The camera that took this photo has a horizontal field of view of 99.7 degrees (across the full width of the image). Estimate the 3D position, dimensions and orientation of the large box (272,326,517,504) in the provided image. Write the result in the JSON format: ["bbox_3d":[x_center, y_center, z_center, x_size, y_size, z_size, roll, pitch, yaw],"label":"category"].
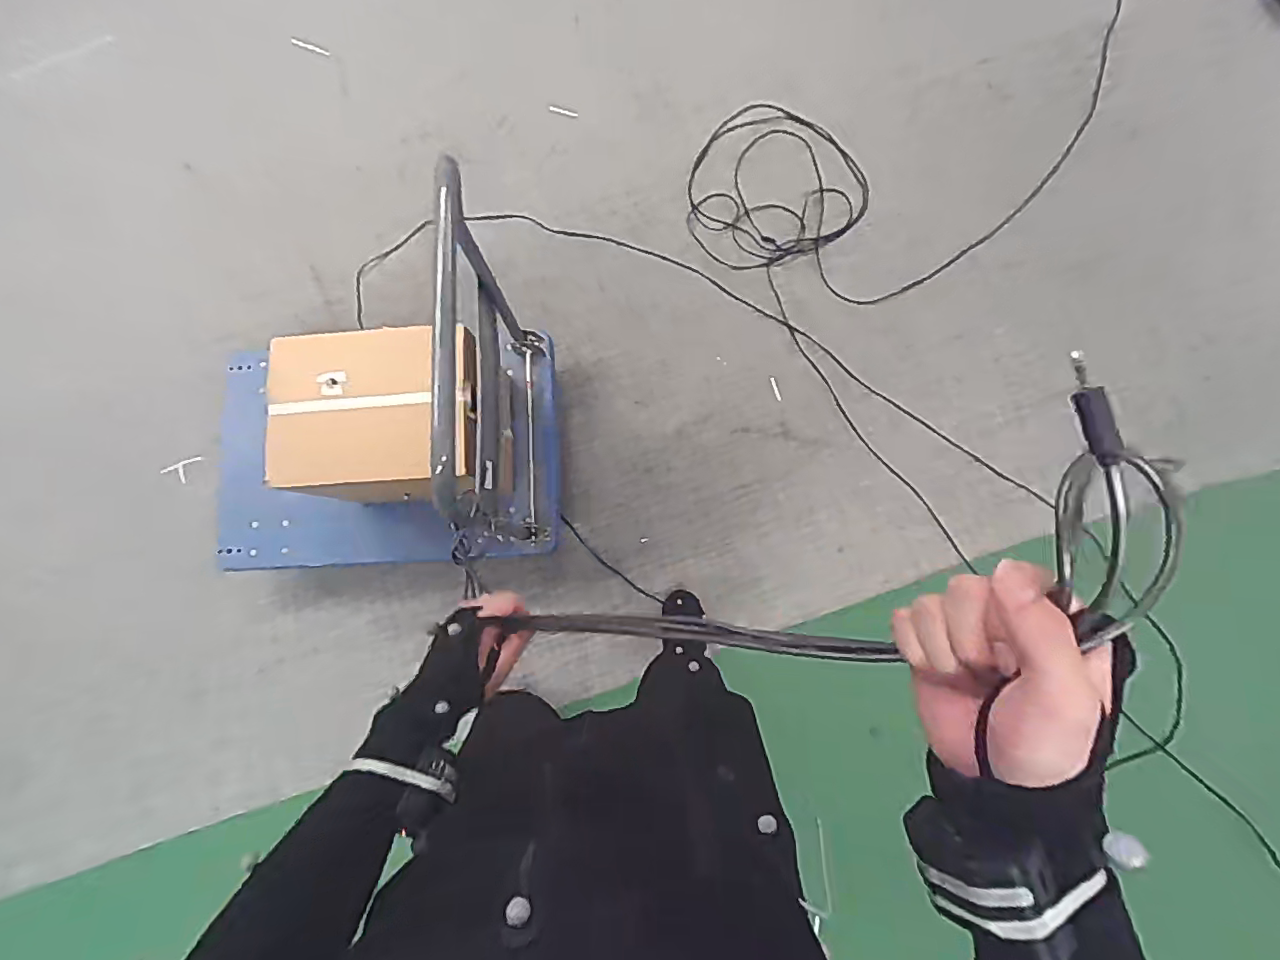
[{"bbox_3d":[-0.520,-0.121,1.212,0.408,0.320,0.320,-4,81,4],"label":"large box"}]
